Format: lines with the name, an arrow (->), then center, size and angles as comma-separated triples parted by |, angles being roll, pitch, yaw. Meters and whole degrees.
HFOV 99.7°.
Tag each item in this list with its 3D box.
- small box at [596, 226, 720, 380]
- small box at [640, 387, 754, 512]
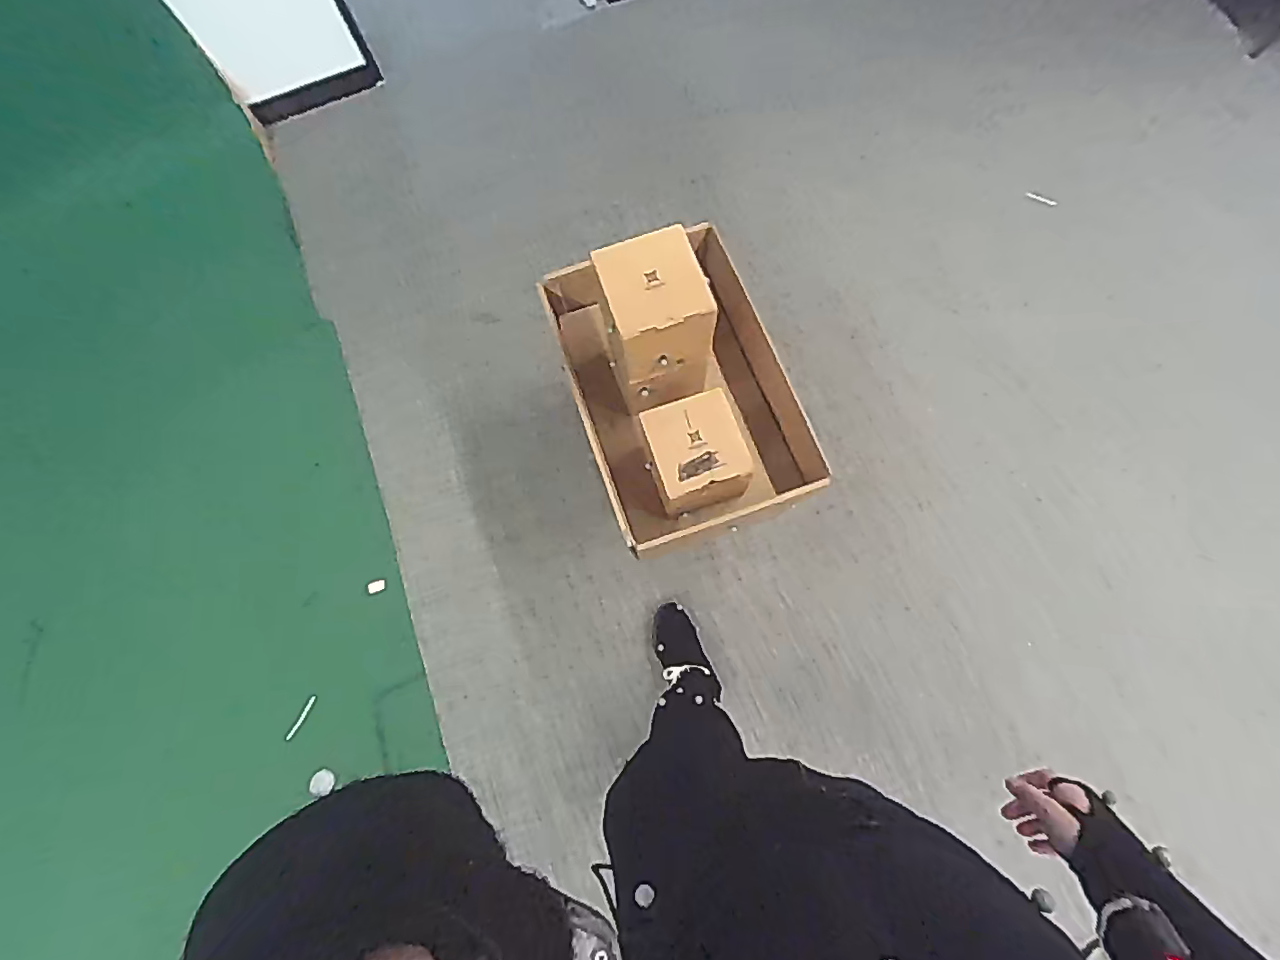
small box -> 0.028, -0.308, 0.966 | 0.168, 0.176, 0.179 | -19, 75, -3
small box -> 0.107, -0.048, 1.052 | 0.168, 0.176, 0.179 | -18, 72, -3
